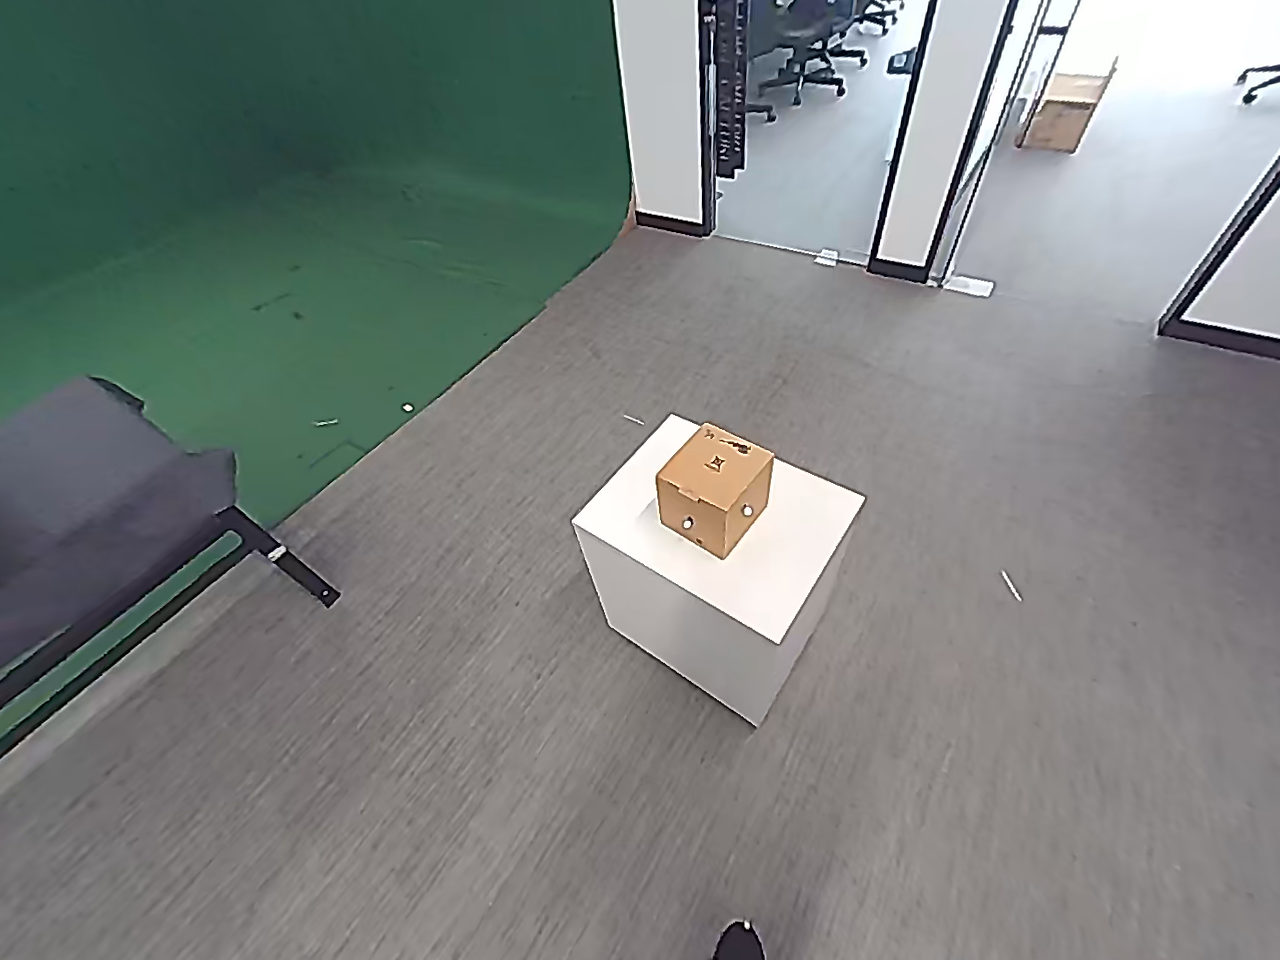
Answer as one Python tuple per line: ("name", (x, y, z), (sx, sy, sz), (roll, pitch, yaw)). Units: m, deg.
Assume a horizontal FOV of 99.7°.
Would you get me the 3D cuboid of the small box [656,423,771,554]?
("small box", (0.153, 0.021, 1.116), (0.168, 0.176, 0.179), (27, 58, 26))
